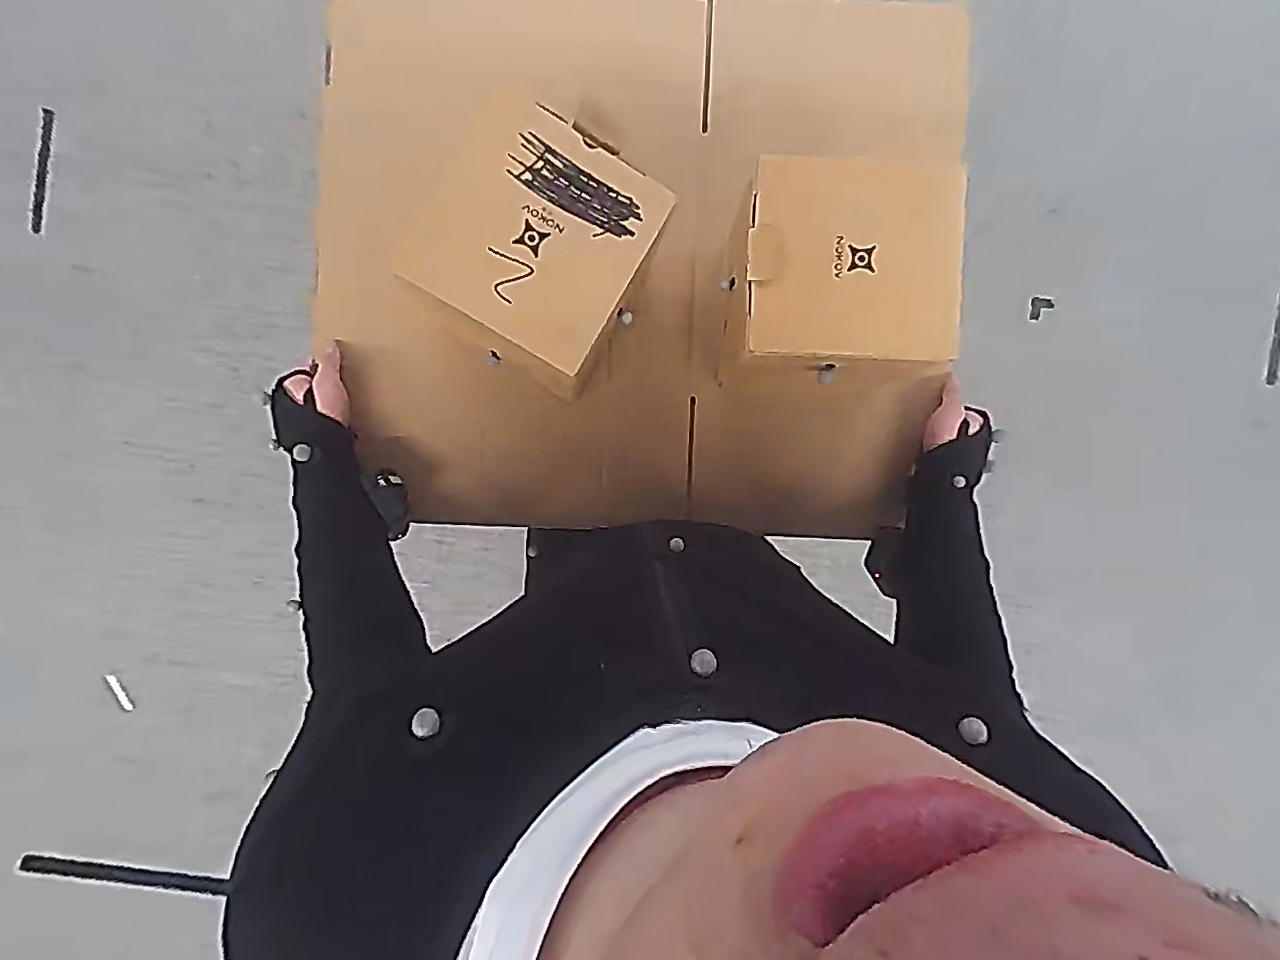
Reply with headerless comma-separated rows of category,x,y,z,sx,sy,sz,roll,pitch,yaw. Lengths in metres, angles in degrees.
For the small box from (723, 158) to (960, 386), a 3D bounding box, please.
small box,0.185,-0.192,0.543,0.179,0.176,0.168,2,90,2
